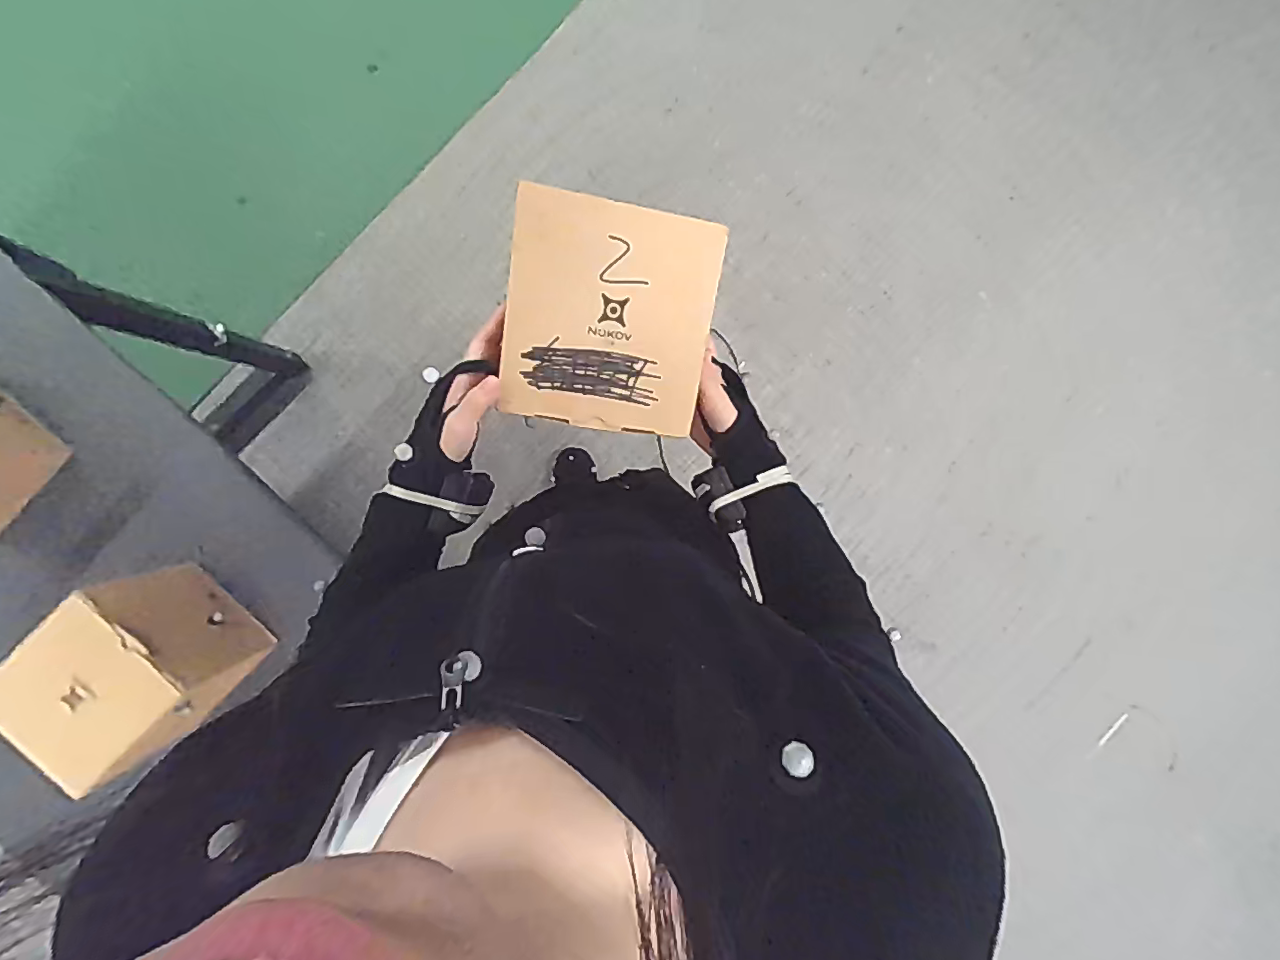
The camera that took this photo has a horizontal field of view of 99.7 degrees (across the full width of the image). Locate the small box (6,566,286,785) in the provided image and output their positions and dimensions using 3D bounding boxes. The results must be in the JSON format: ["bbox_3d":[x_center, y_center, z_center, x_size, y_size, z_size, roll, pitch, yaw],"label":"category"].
[{"bbox_3d":[-0.620,0.238,0.705,0.168,0.176,0.179,44,91,-1],"label":"small box"}]
